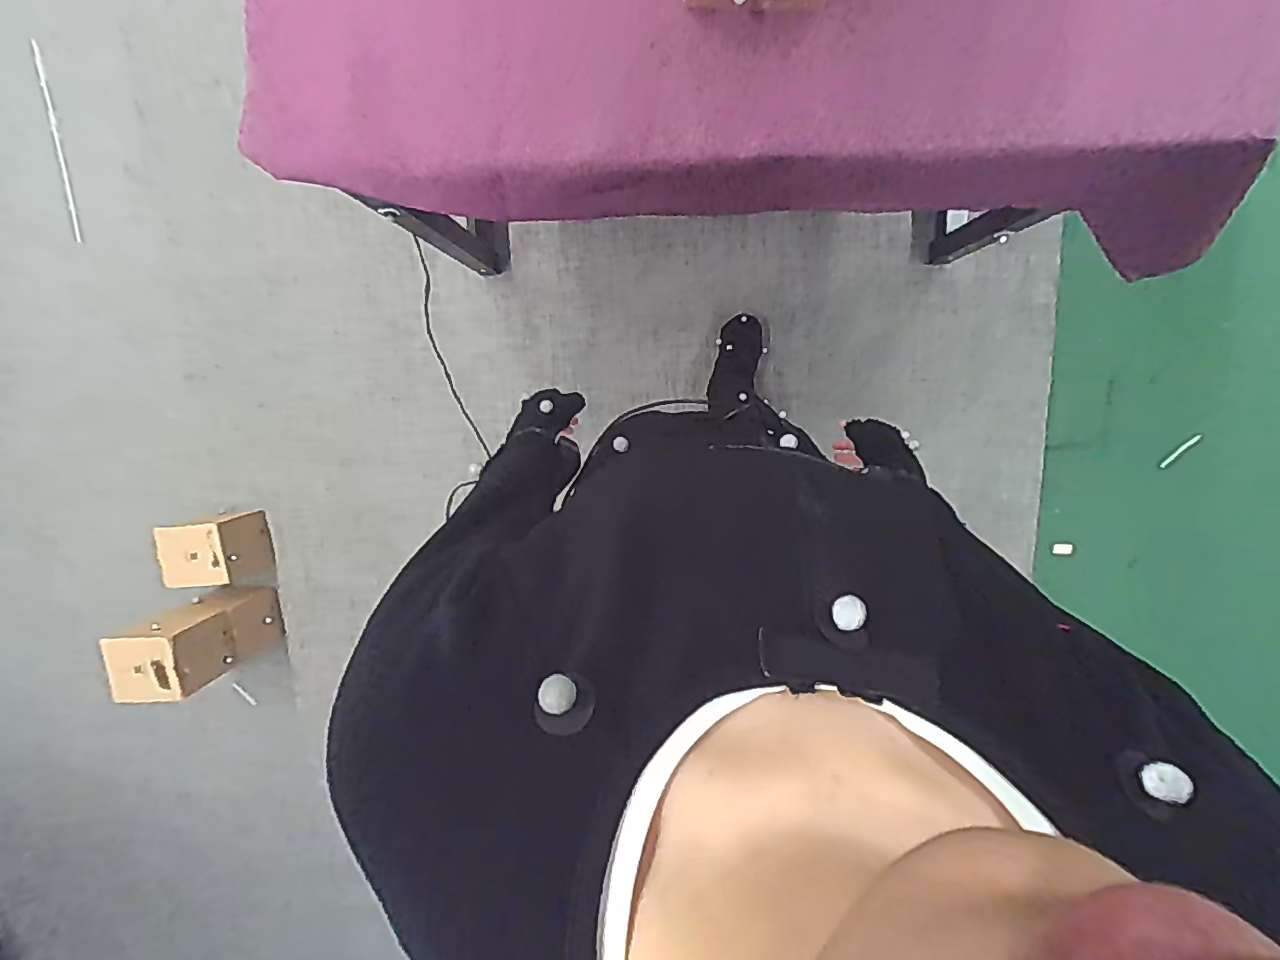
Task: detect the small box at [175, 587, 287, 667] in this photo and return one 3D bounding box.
[{"bbox_3d":[-1.137,0.407,1.512,0.179,0.176,0.168,-2,100,3],"label":"small box"}]

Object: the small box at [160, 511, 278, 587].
[{"bbox_3d":[-1.138,0.184,1.473,0.179,0.176,0.168,-4,100,4],"label":"small box"}]

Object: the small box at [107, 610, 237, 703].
[{"bbox_3d":[-1.152,0.434,1.351,0.179,0.176,0.168,-3,100,4],"label":"small box"}]

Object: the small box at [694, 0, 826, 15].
[{"bbox_3d":[0.134,-0.618,0.536,0.168,0.176,0.179,4,100,3],"label":"small box"}]
